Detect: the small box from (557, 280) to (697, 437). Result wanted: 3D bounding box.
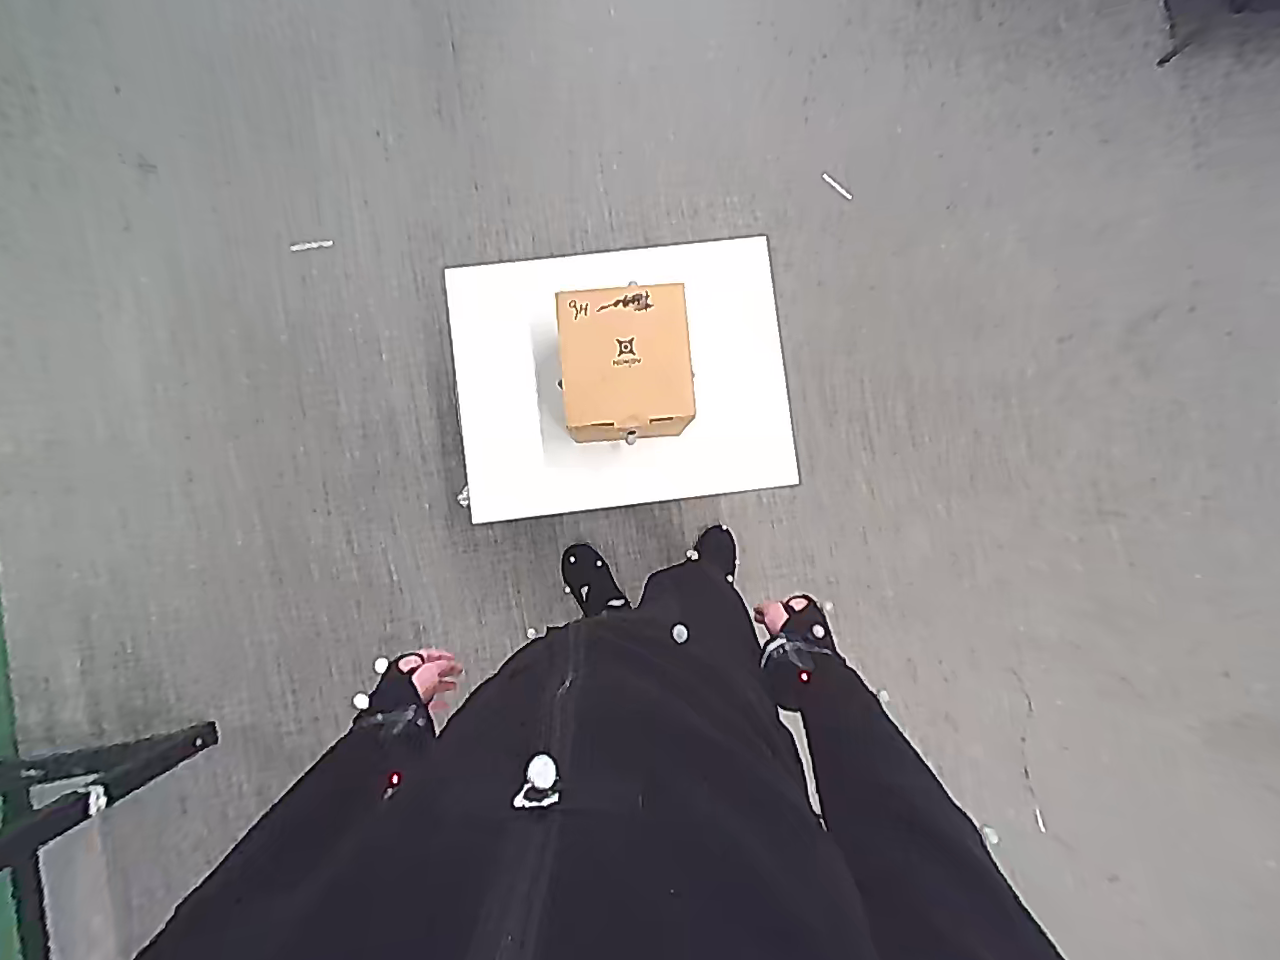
[{"bbox_3d":[-0.017,-0.159,0.768,0.168,0.176,0.179,-7,87,-2],"label":"small box"}]
